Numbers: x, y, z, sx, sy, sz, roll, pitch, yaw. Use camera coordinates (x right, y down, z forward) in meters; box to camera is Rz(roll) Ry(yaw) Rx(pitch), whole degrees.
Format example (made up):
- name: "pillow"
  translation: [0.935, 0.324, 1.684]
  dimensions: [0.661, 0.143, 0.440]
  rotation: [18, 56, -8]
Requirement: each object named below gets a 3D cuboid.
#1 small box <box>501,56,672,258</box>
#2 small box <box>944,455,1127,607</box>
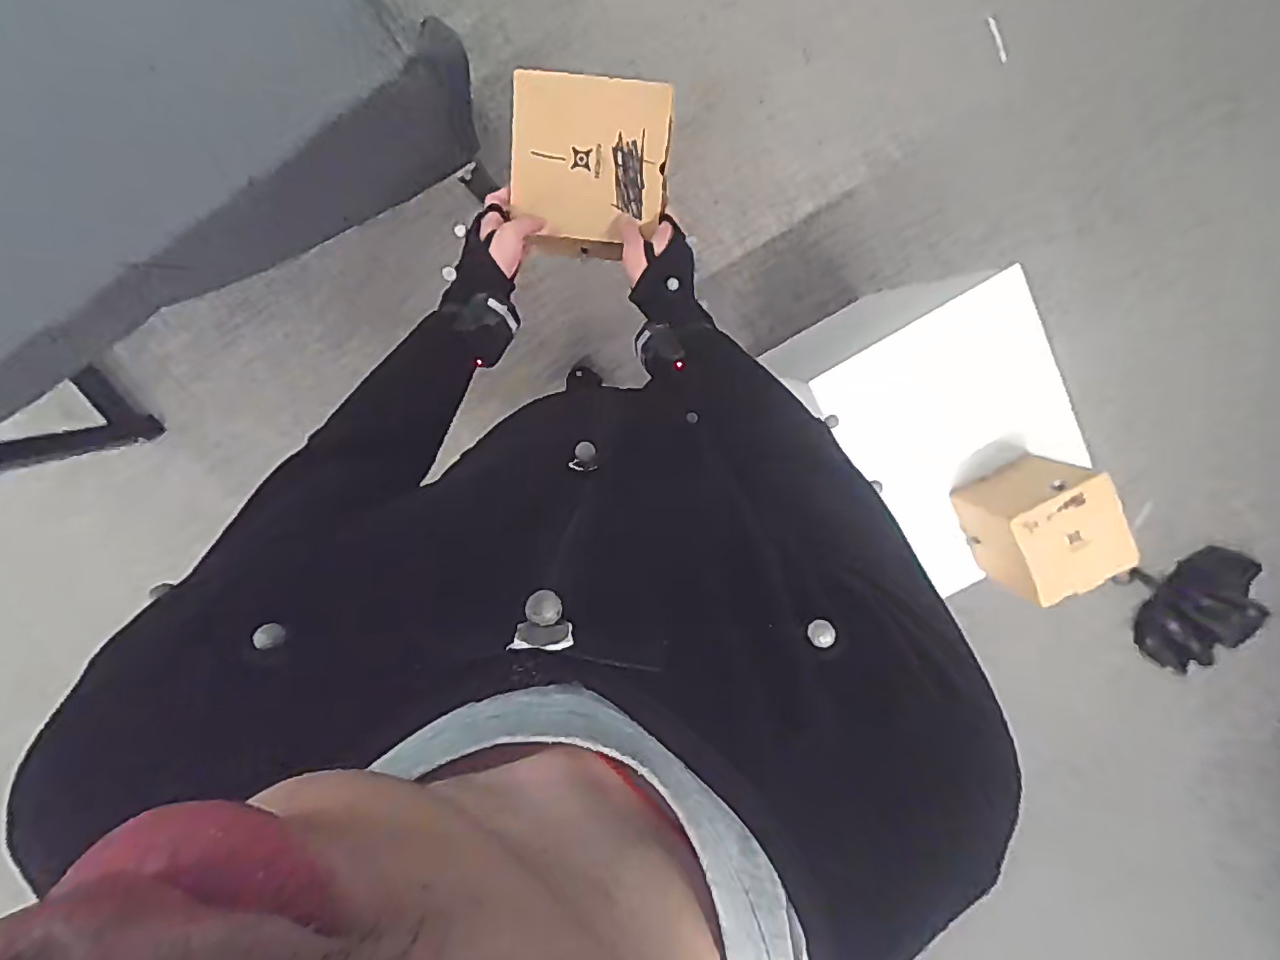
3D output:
- name: "small box"
  translation: [-0.061, -0.372, 0.658]
  dimensions: [0.179, 0.176, 0.168]
  rotation: [5, 105, -1]
- name: "small box"
  translation: [0.670, 0.079, 0.933]
  dimensions: [0.168, 0.176, 0.179]
  rotation: [-28, 104, 3]
